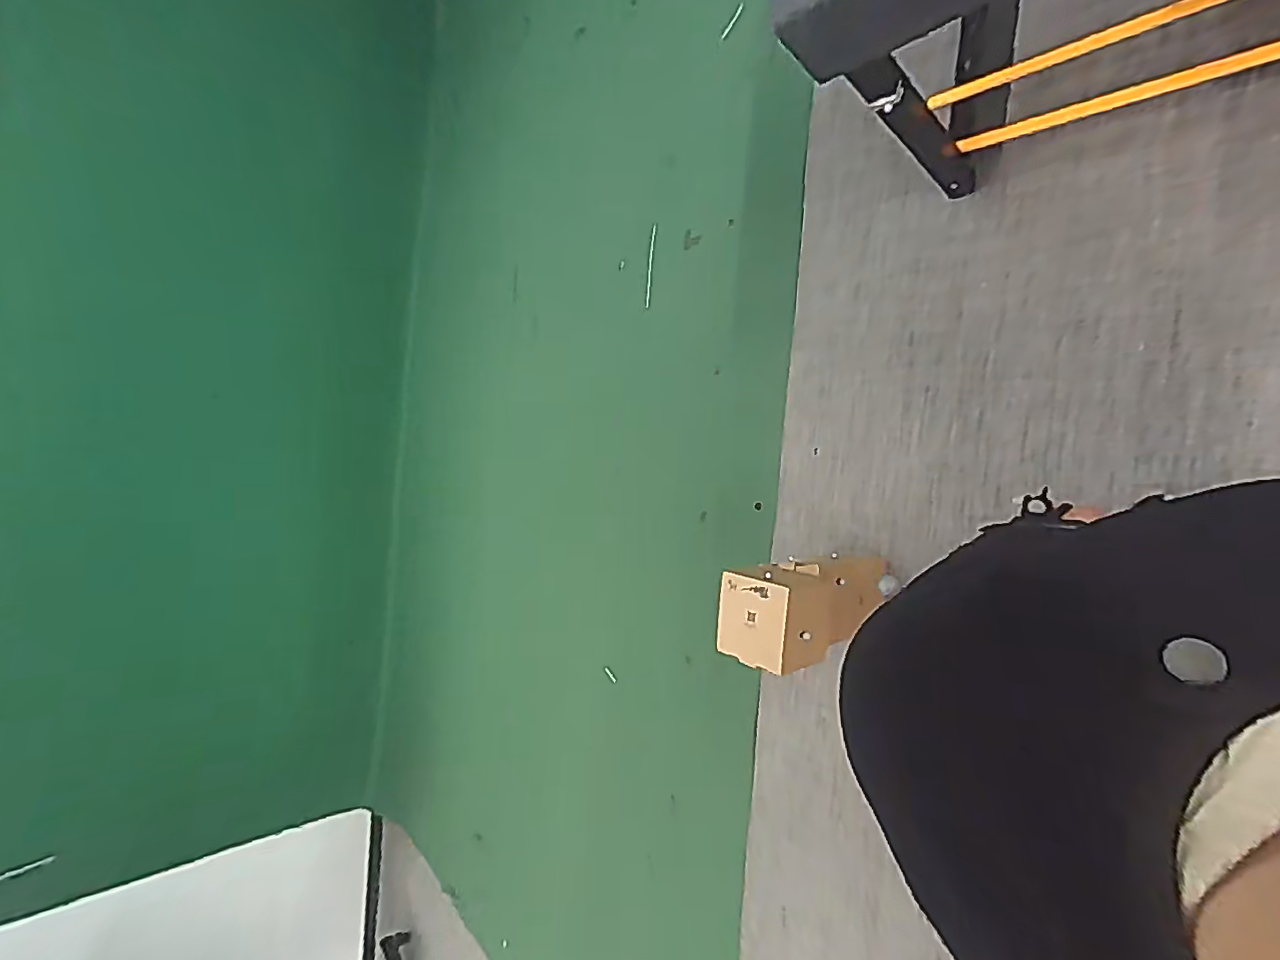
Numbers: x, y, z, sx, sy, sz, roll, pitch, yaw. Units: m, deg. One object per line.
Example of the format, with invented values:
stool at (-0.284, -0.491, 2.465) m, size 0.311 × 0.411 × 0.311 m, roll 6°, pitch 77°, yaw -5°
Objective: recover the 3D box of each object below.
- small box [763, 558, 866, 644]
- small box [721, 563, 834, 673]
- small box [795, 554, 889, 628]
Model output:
small box at (0.406, 0.274, 1.264) m, size 0.168 × 0.176 × 0.179 m, roll -12°, pitch 79°, yaw 48°
small box at (0.292, 0.281, 1.144) m, size 0.168 × 0.176 × 0.179 m, roll 7°, pitch 94°, yaw 48°
small box at (0.520, 0.276, 1.380) m, size 0.179 × 0.176 × 0.168 m, roll -8°, pitch 81°, yaw 48°
